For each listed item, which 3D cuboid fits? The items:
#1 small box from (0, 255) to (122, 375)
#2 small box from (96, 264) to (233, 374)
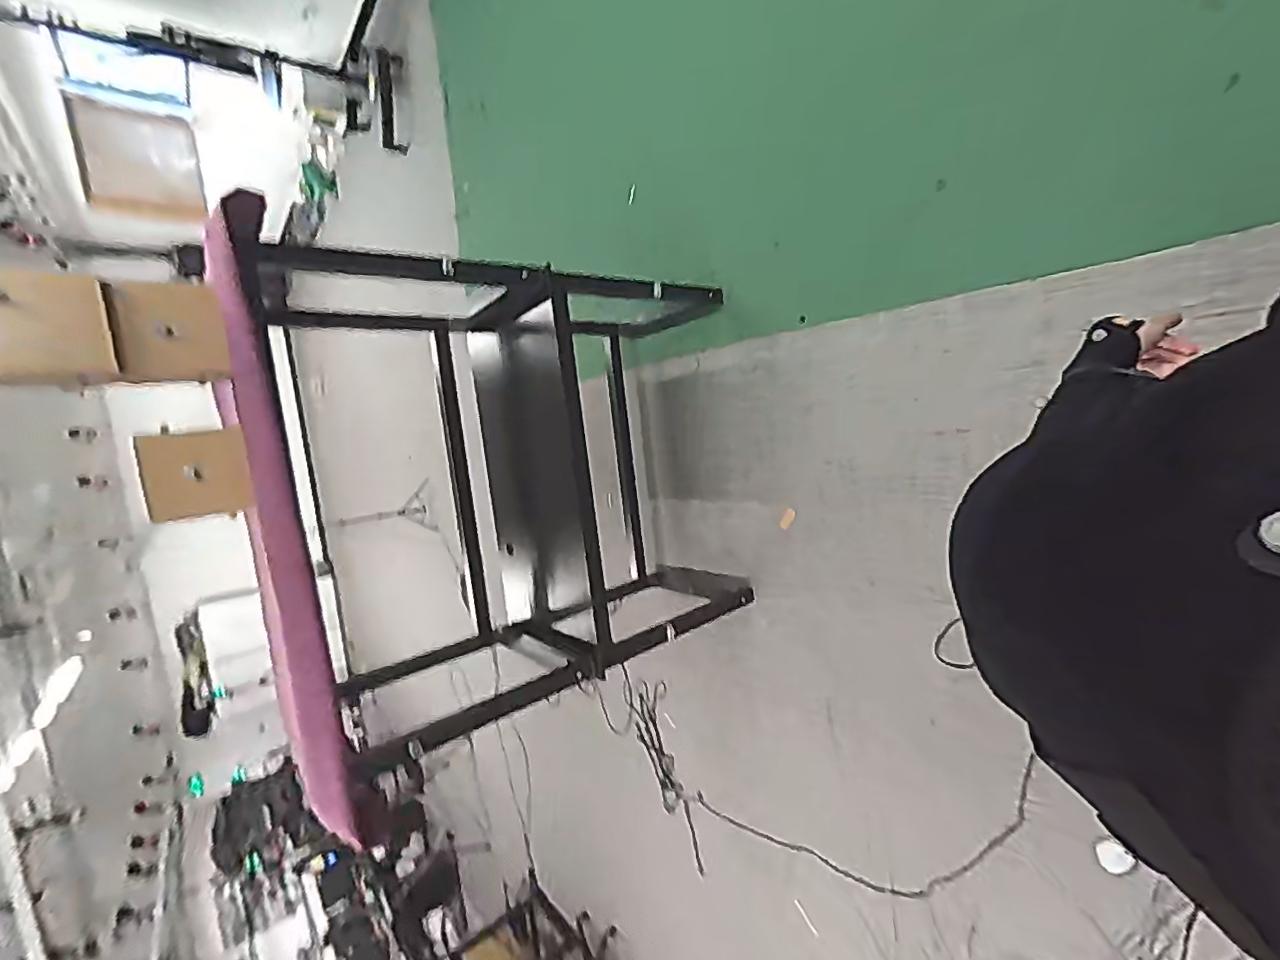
[{"bbox_3d":[-1.044,-0.284,0.950,0.168,0.176,0.179,1,100,51],"label":"small box"},{"bbox_3d":[-0.932,-0.309,1.069,0.168,0.176,0.179,1,102,51],"label":"small box"}]
